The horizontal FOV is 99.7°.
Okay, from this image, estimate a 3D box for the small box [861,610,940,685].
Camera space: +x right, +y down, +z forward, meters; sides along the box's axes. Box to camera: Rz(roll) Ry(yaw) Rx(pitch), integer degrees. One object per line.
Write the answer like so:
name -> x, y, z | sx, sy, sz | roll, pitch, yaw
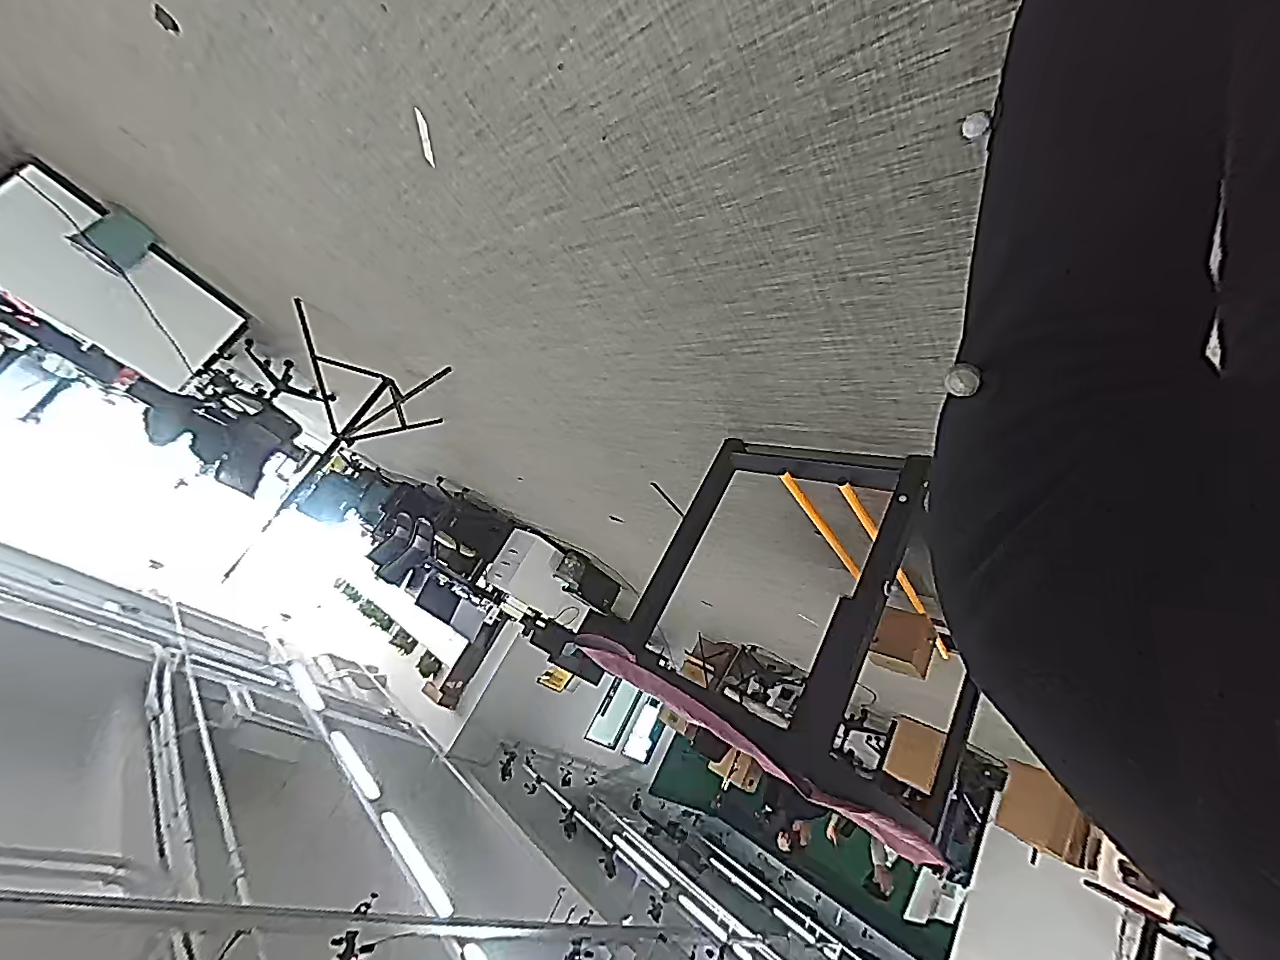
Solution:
small box -> 0.879, 0.555, 1.817 | 0.179, 0.176, 0.168 | 6, 150, 47
